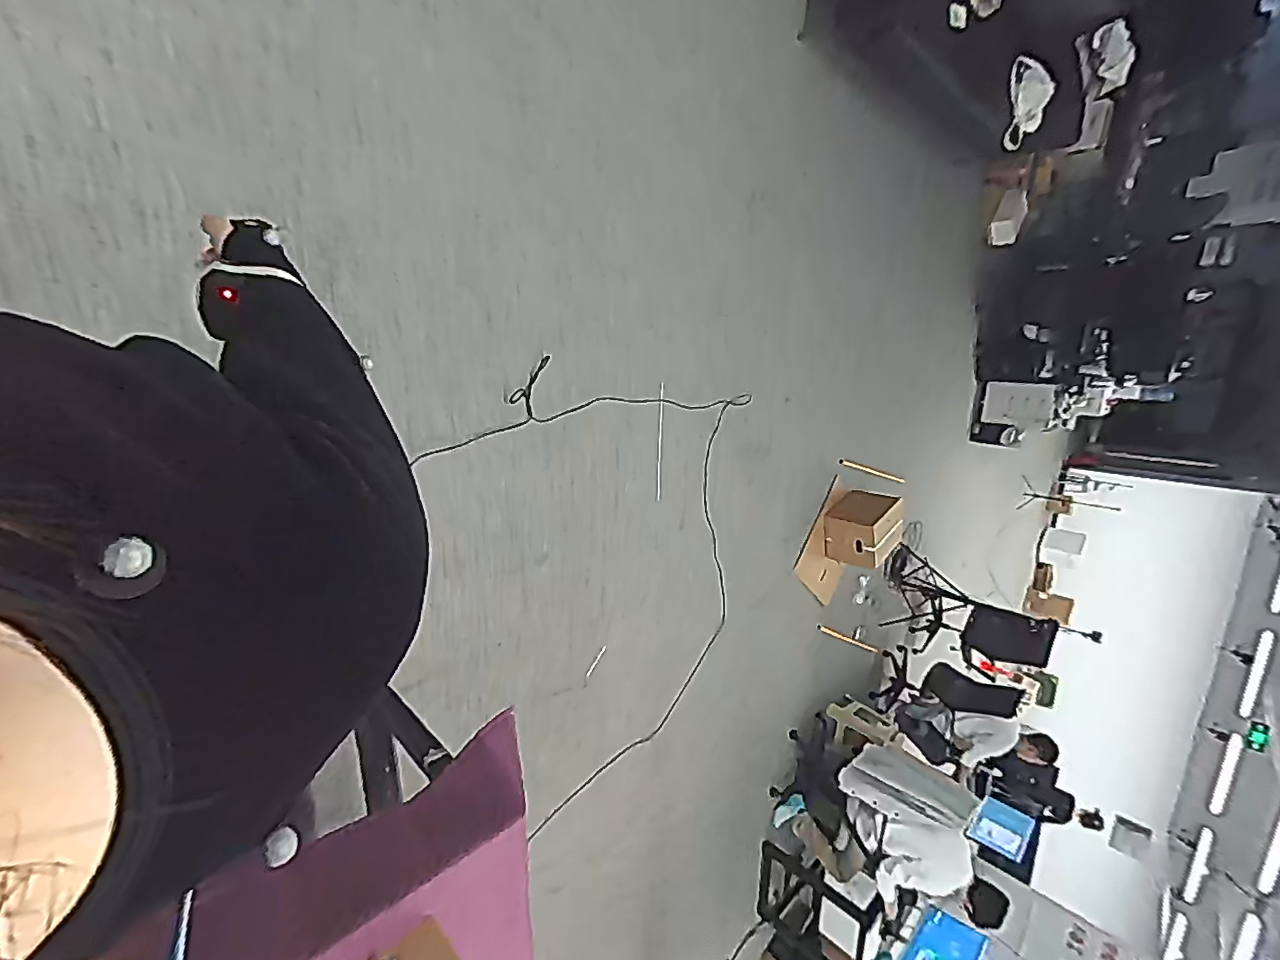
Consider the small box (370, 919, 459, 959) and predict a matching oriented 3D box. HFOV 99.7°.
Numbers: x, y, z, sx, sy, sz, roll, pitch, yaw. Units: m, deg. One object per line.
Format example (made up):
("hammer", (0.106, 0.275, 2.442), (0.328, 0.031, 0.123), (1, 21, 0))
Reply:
("small box", (-0.372, 0.867, 0.853), (0.179, 0.176, 0.168), (-10, 108, -42))
